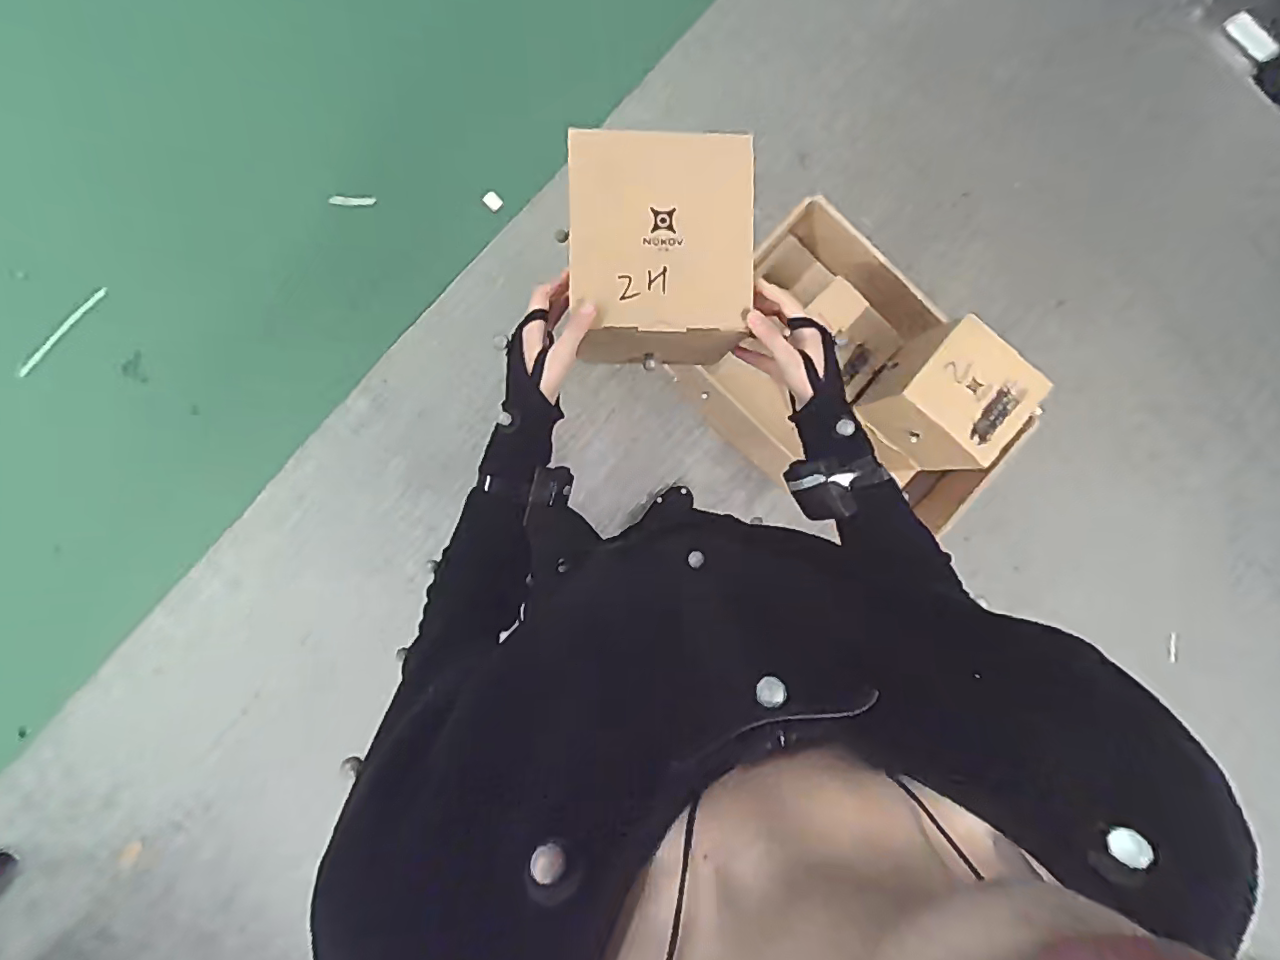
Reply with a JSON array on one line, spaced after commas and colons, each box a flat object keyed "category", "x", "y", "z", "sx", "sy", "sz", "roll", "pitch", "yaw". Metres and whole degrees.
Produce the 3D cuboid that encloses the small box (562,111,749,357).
[{"category": "small box", "x": 0.009, "y": -0.230, "z": 0.547, "sx": 0.168, "sy": 0.176, "sz": 0.179, "roll": -1, "pitch": 92, "yaw": -3}]
